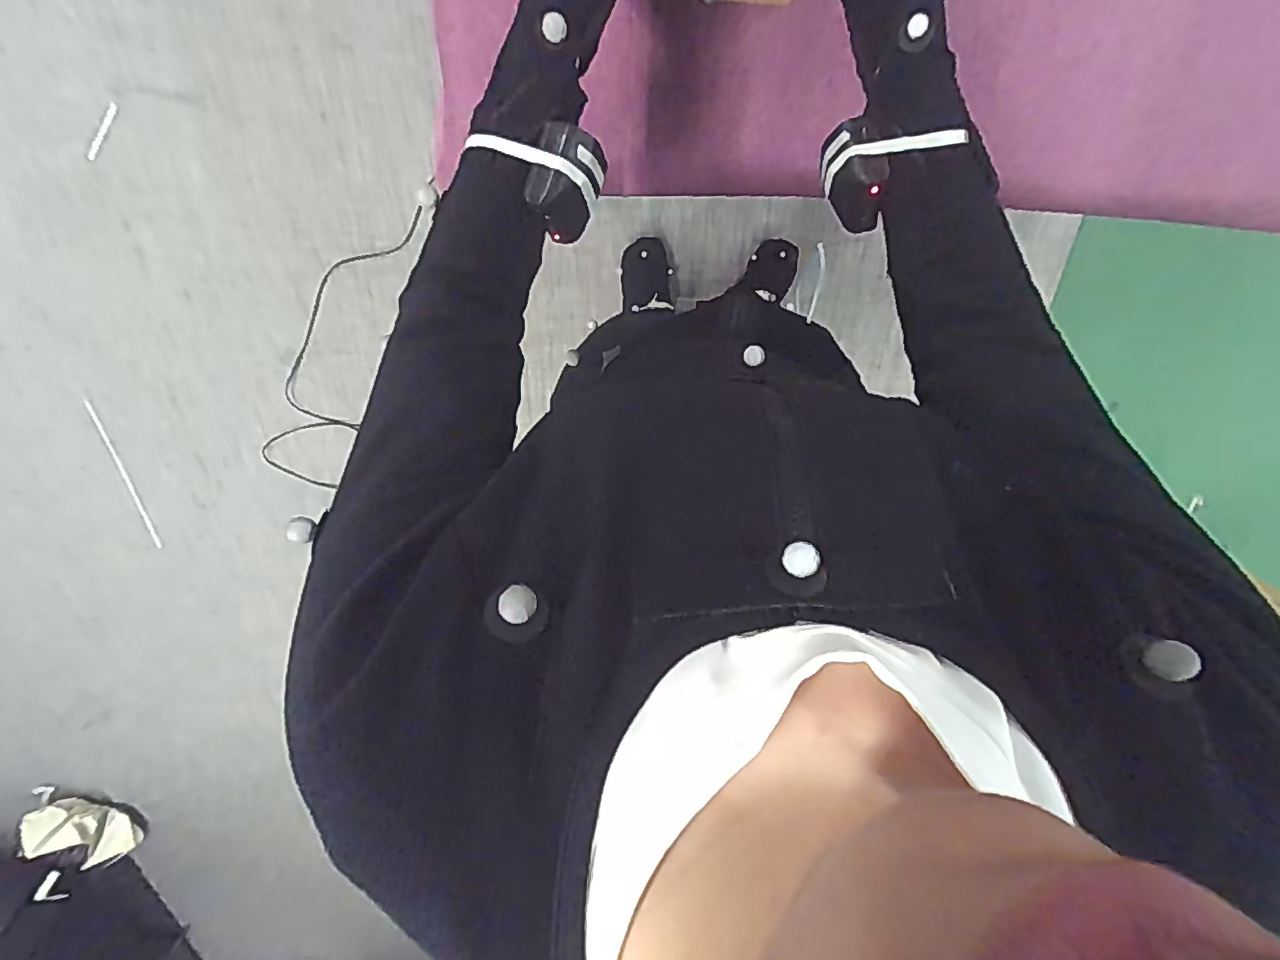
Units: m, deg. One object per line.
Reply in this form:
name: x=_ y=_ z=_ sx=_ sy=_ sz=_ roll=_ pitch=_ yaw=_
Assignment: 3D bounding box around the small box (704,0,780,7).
small box: x=0.066 y=-0.502 z=0.408 sx=0.168 sy=0.176 sz=0.179 roll=3 pitch=117 yaw=-2
